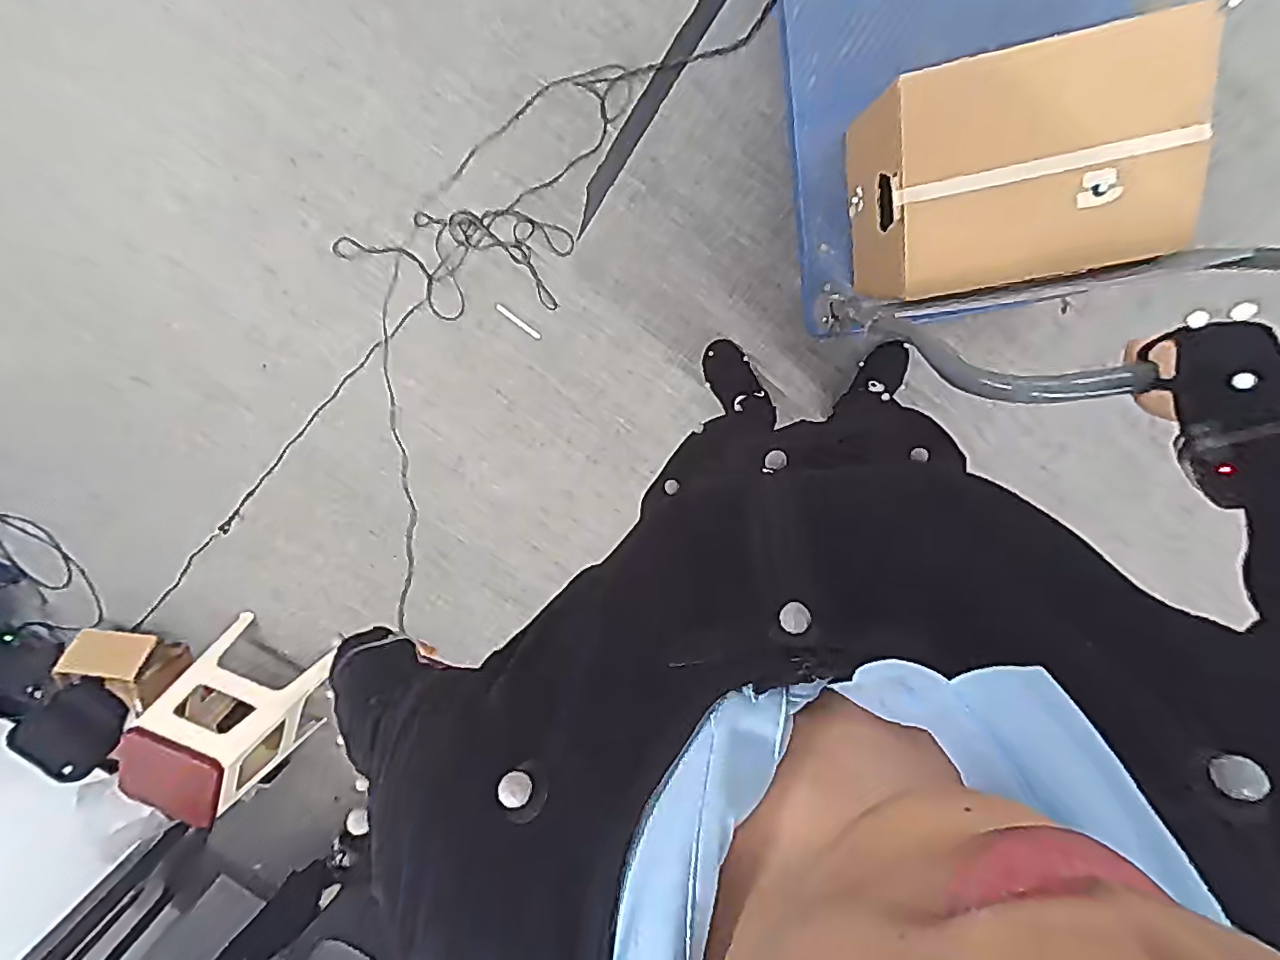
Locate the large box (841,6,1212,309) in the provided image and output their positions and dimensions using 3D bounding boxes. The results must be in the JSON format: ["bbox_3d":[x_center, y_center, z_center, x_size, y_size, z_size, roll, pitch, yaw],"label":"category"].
[{"bbox_3d":[0.593,-0.494,0.919,0.408,0.320,0.320,-8,110,9],"label":"large box"}]
